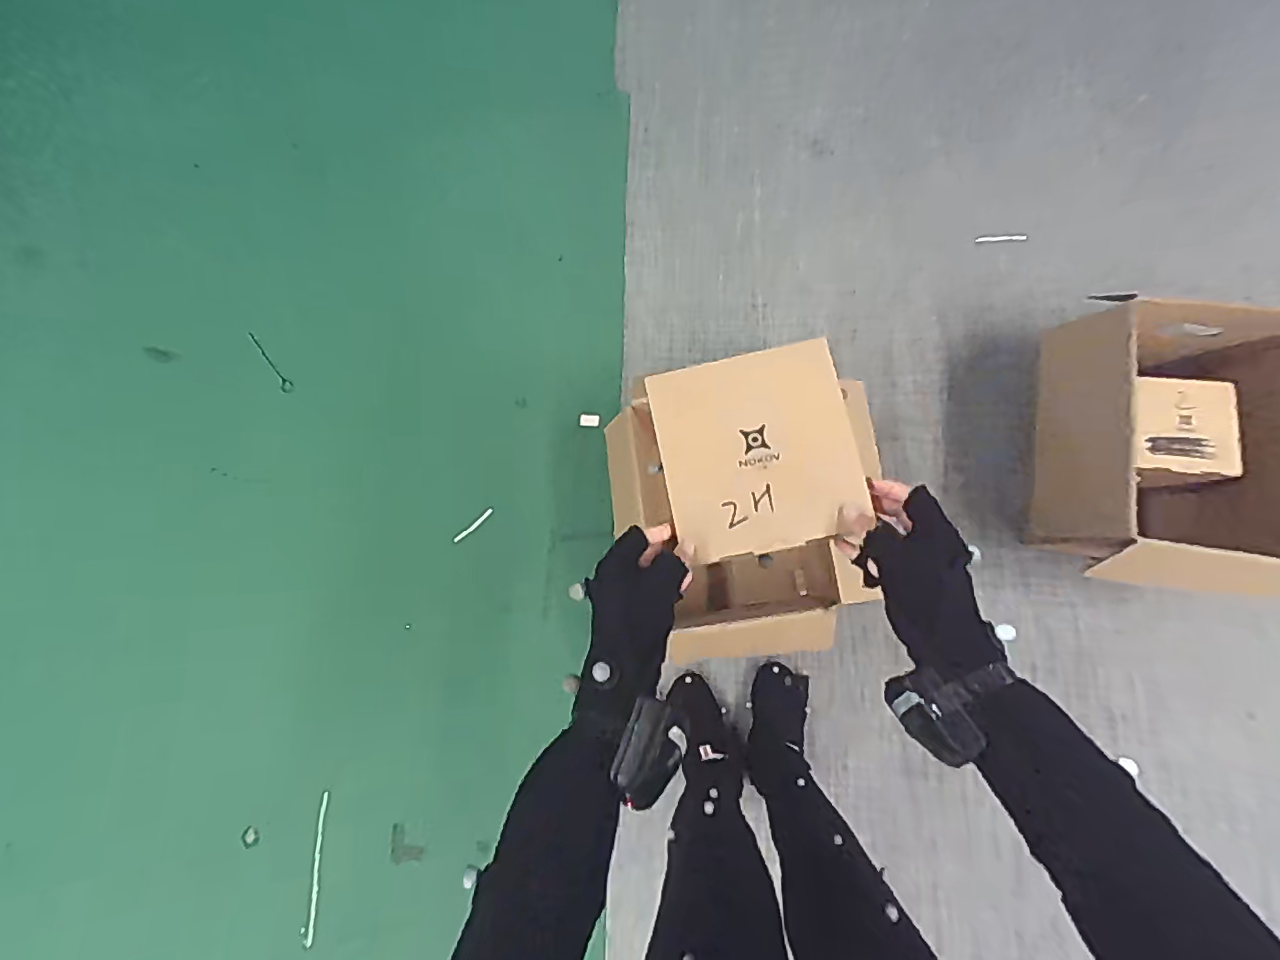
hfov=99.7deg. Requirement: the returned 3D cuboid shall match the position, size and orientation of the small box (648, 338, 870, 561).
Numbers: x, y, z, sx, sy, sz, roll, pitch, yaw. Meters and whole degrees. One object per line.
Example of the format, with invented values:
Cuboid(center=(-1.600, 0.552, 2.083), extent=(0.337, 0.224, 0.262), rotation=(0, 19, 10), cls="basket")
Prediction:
Cuboid(center=(0.109, -0.017, 0.555), extent=(0.168, 0.176, 0.179), rotation=(-12, 80, 5), cls="small box")
